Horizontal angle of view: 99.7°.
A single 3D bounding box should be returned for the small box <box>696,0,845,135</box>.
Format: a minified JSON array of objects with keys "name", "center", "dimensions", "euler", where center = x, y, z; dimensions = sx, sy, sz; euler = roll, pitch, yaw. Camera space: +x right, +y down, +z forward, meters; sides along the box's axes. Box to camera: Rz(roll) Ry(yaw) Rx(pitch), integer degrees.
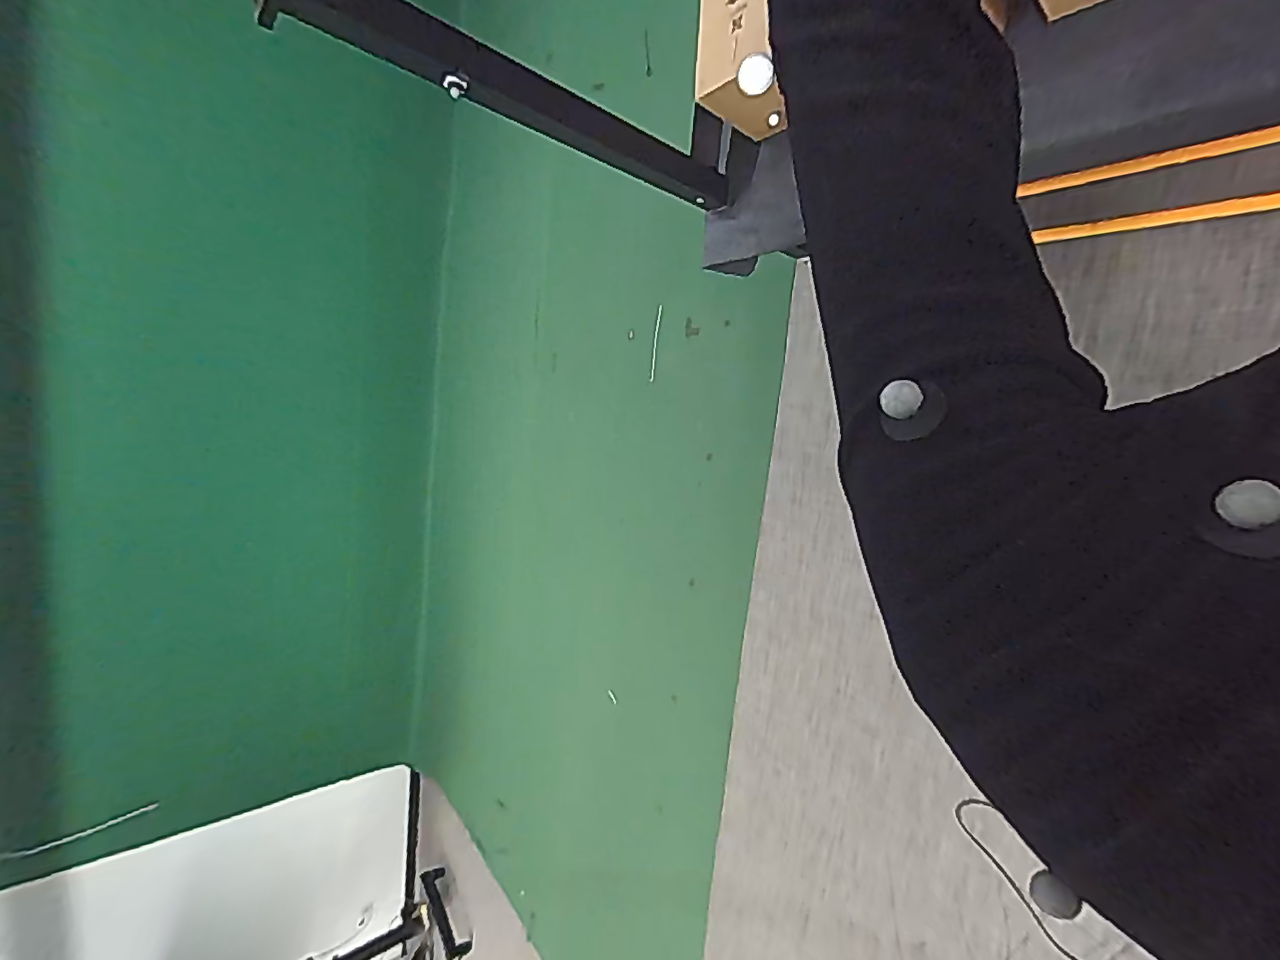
[{"name":"small box","center":[0.211,-0.696,0.858],"dimensions":[0.168,0.176,0.179],"euler":[10,98,49]}]
